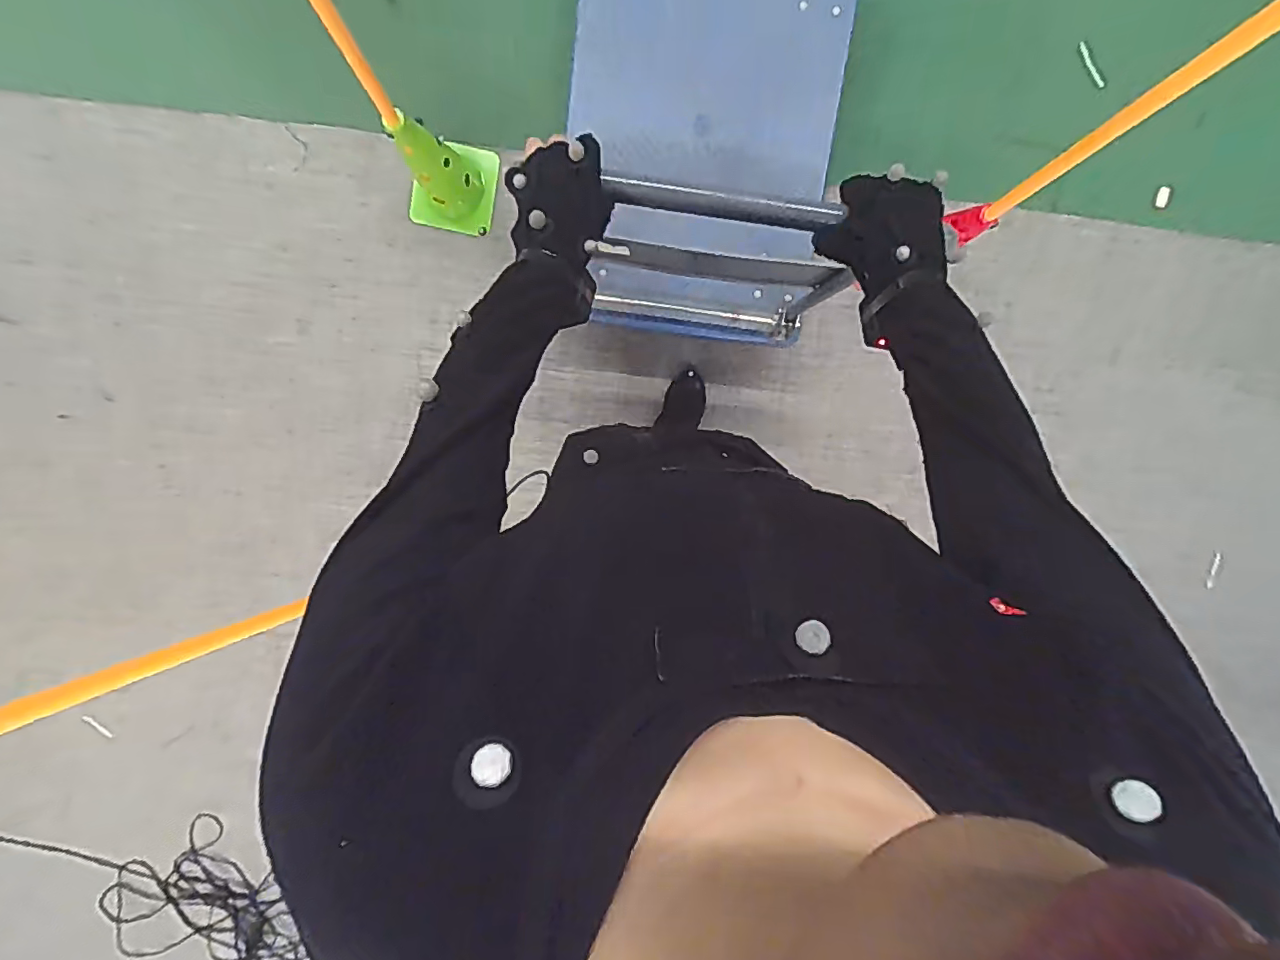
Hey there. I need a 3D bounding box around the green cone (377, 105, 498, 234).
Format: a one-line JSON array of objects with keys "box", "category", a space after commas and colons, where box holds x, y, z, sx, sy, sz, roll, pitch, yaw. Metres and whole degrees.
[{"box": [-0.459, -0.700, 1.169, 0.202, 0.368, 0.200, 11, 99, -2], "category": "green cone"}]
